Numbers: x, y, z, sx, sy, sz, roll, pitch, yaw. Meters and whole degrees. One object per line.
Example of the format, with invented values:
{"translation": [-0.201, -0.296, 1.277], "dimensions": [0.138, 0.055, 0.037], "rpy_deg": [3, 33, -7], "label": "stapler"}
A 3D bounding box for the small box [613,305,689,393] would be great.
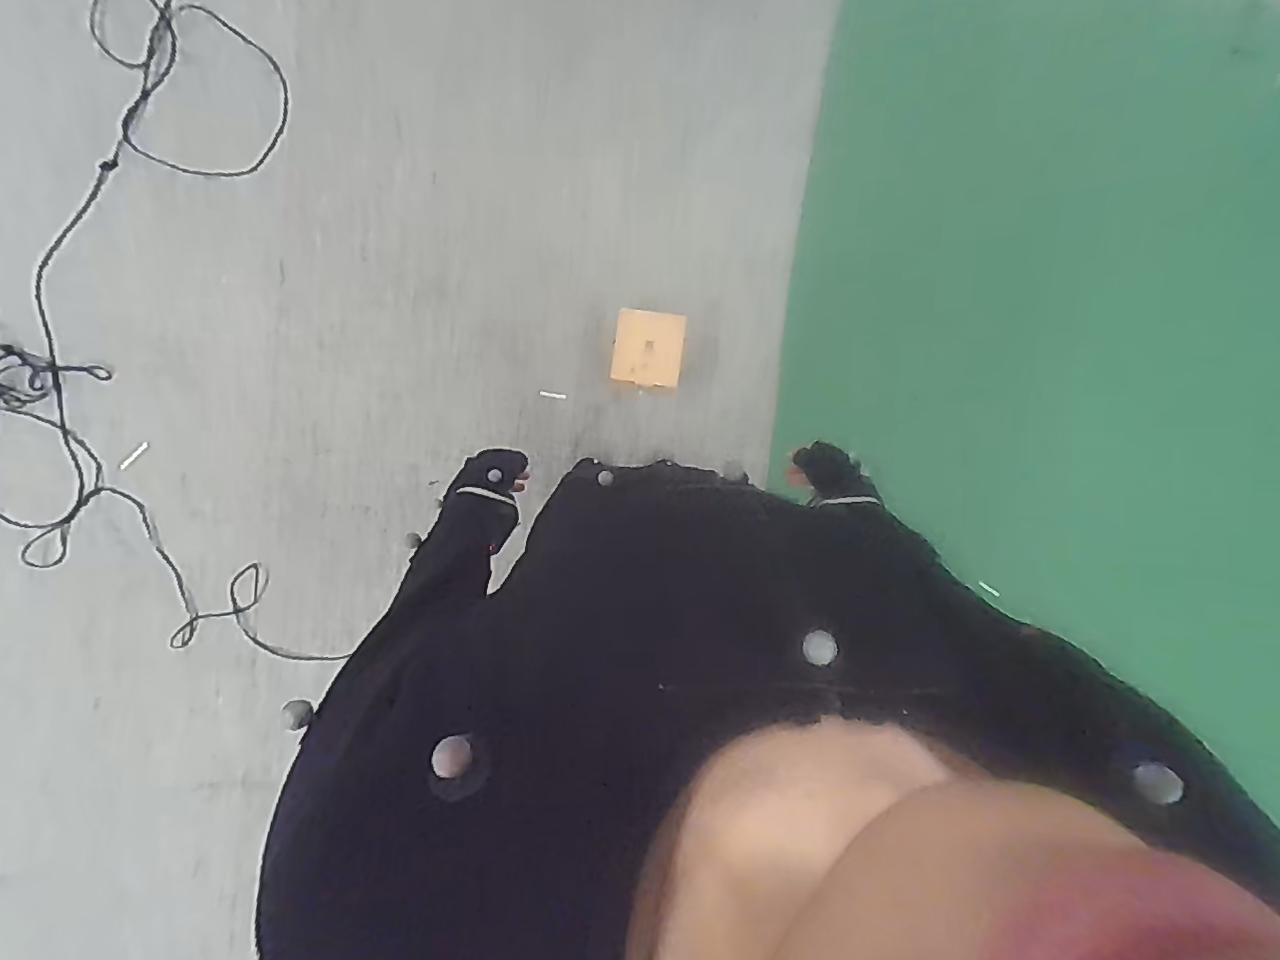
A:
{"translation": [0.023, -0.329, 1.387], "dimensions": [0.168, 0.176, 0.179], "rpy_deg": [8, 94, -3], "label": "small box"}
